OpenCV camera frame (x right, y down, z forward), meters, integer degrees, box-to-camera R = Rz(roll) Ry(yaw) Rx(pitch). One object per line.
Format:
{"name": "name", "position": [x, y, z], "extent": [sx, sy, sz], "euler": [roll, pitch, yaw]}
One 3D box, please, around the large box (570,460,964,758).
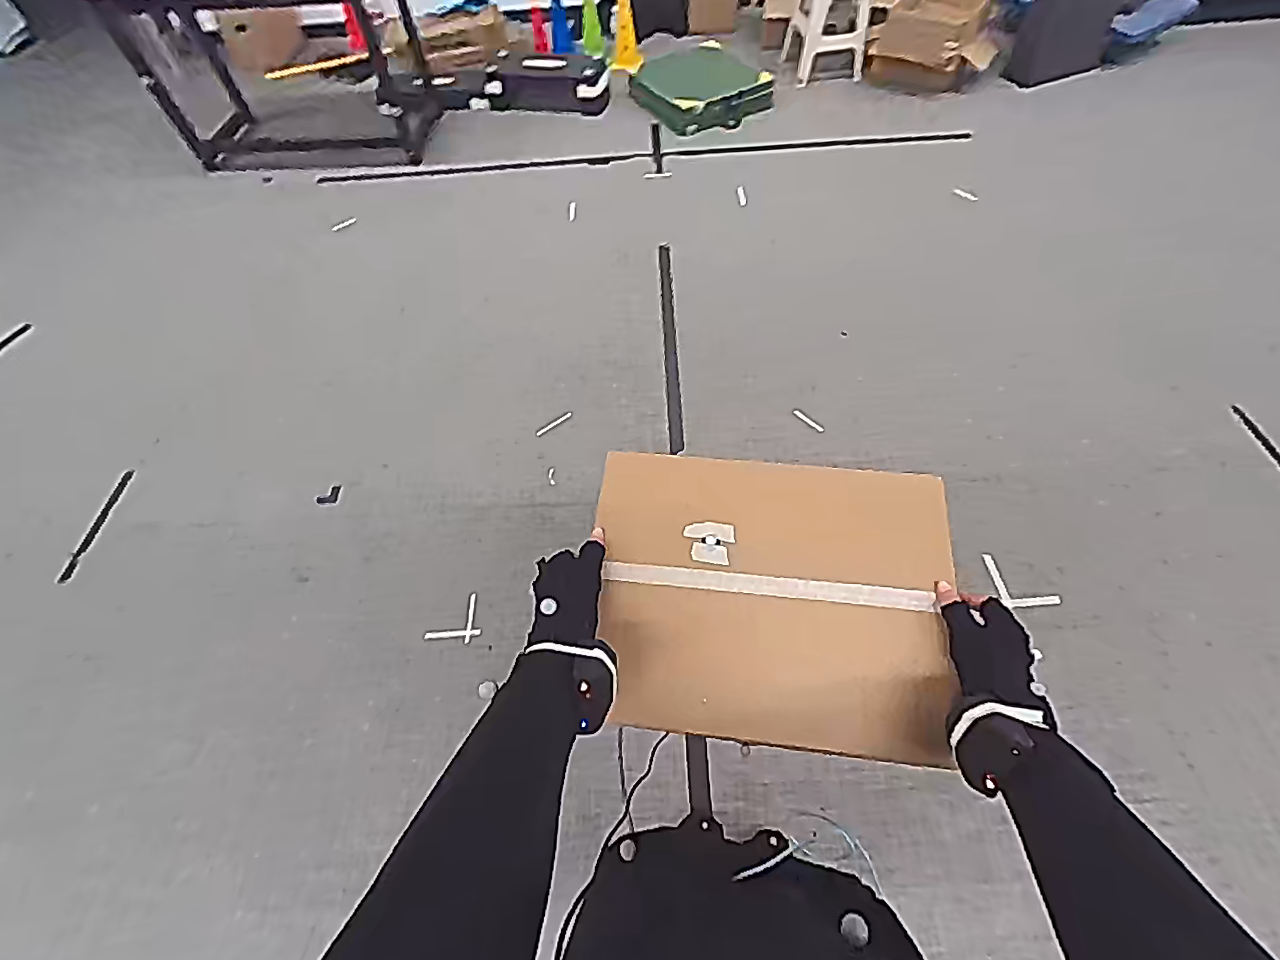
{"name": "large box", "position": [0.152, 0.184, 0.746], "extent": [0.408, 0.320, 0.320], "euler": [4, 64, 8]}
